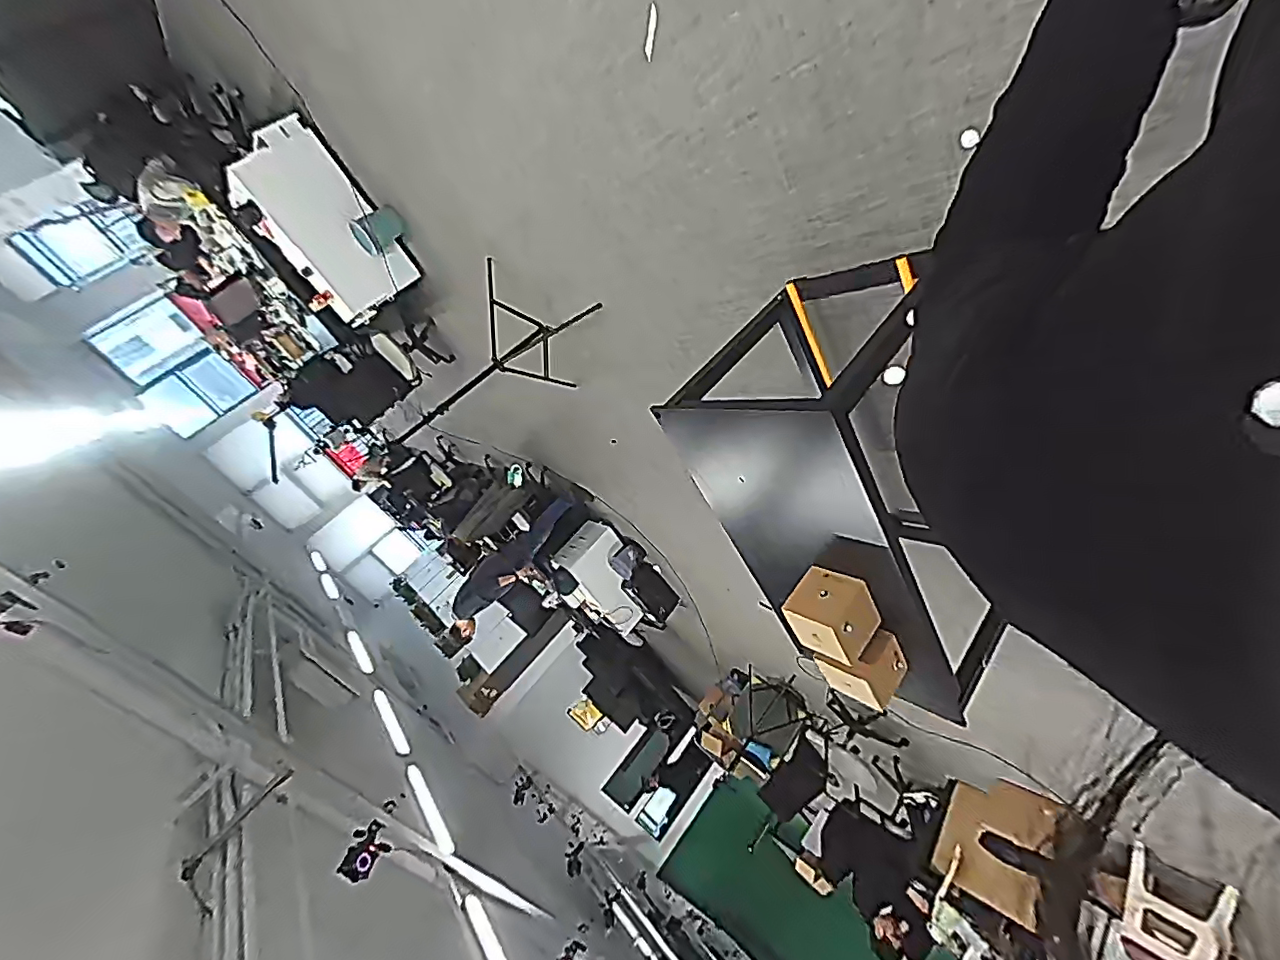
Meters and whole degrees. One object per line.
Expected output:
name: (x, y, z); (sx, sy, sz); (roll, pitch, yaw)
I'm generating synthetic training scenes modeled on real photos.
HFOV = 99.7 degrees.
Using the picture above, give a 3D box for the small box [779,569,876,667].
small box: (0.522, 0.374, 1.495); (0.168, 0.176, 0.179); (13, 143, 53)

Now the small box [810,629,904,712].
small box: (0.639, 0.535, 1.588); (0.179, 0.176, 0.168); (10, 142, 53)
